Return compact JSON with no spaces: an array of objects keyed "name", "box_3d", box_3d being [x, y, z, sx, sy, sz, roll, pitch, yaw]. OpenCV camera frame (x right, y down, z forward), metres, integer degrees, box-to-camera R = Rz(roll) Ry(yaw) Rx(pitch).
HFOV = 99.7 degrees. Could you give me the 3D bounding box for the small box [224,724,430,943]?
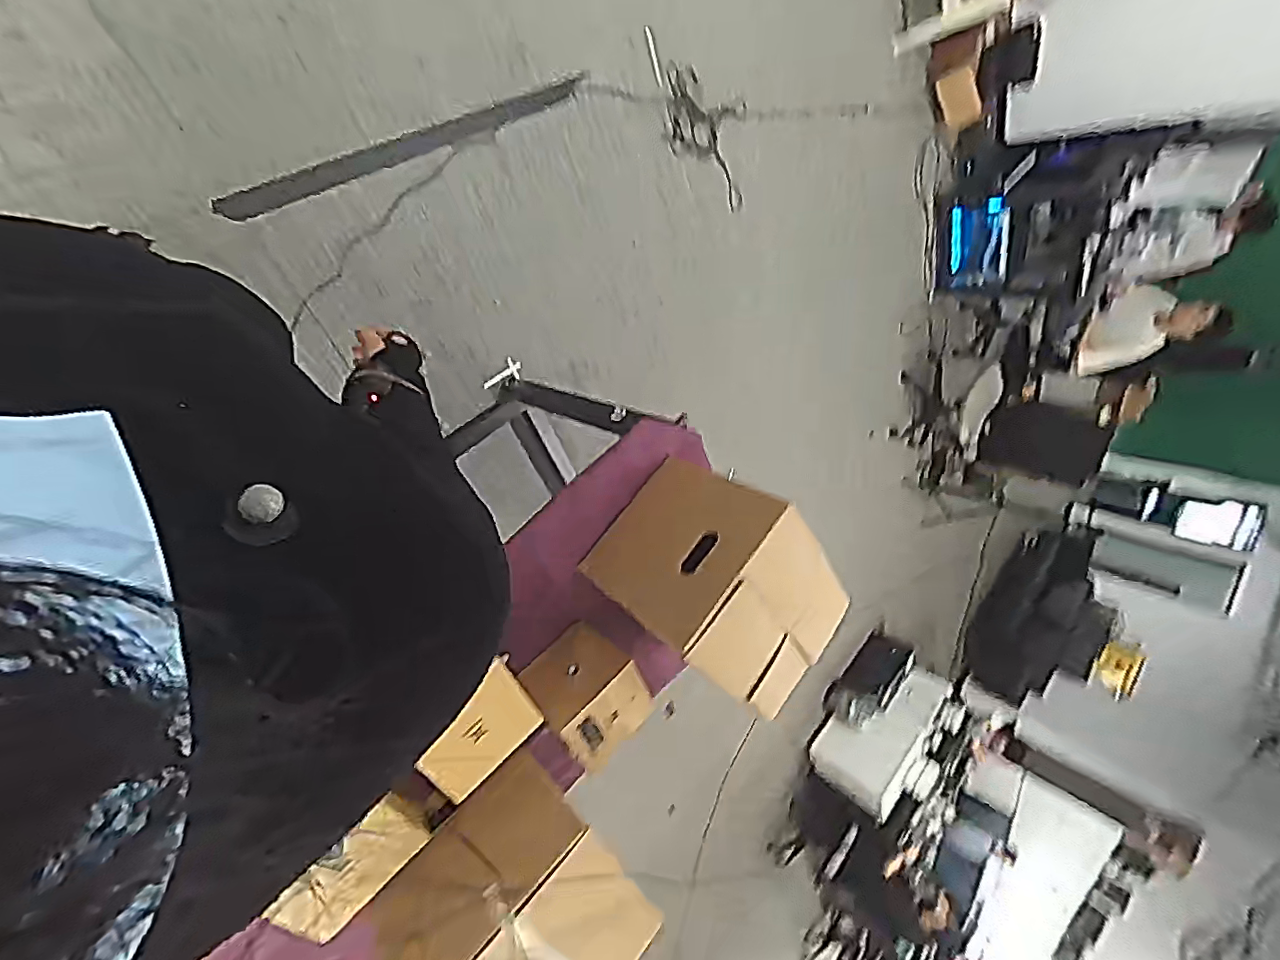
[{"name":"small box","box_3d":[-0.436,0.477,0.754,0.168,0.176,0.179,-40,130,-25]}]
